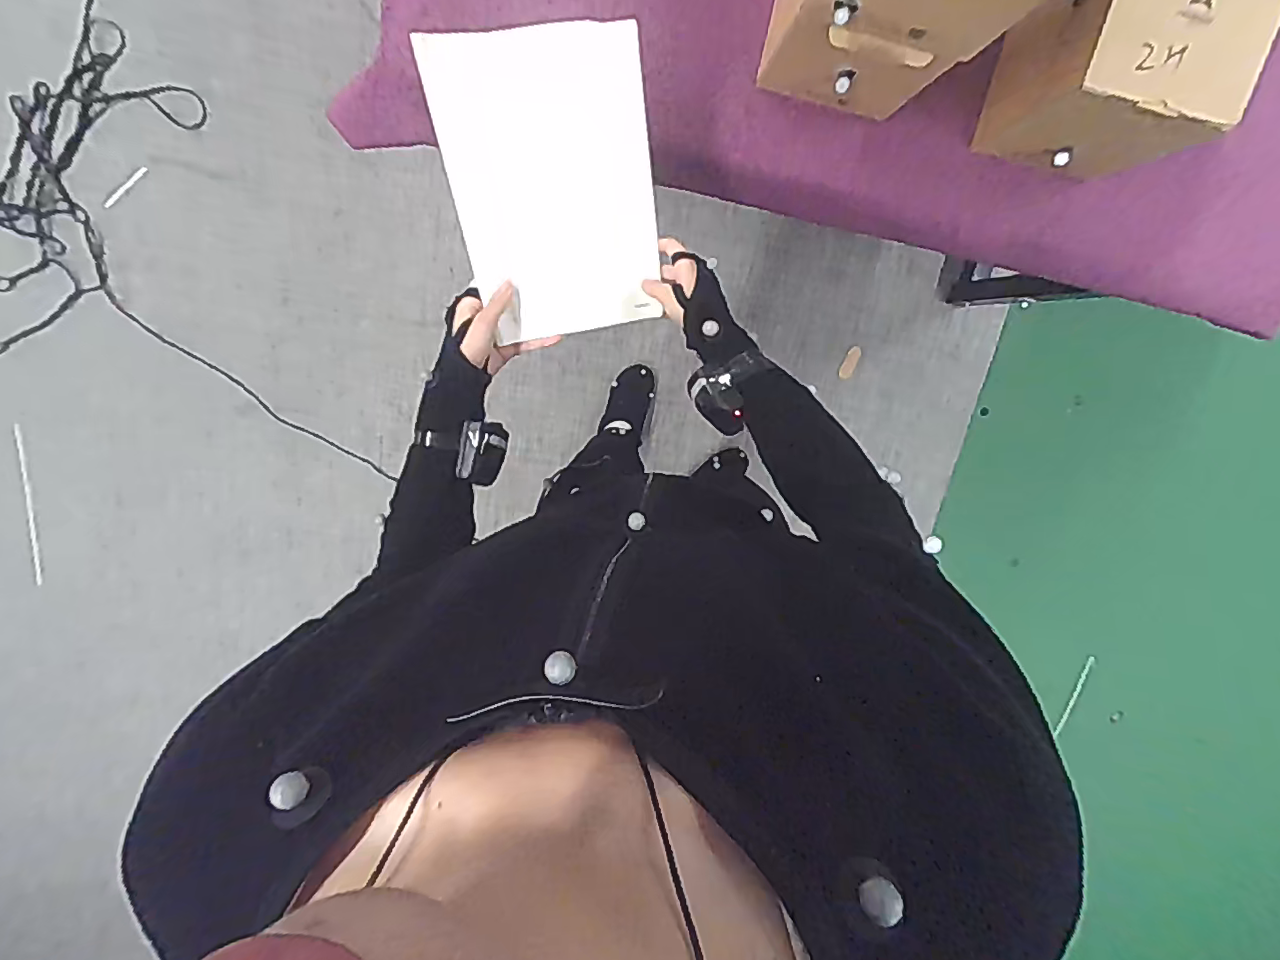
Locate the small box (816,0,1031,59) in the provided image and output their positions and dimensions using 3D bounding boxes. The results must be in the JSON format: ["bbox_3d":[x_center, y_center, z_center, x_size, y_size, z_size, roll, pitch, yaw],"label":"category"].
[{"bbox_3d":[0.242,-0.460,0.398,0.168,0.176,0.179,11,103,-5],"label":"small box"}]

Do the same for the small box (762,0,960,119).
[{"bbox_3d":[0.237,-0.509,0.556,0.168,0.176,0.179,11,105,-6],"label":"small box"}]
